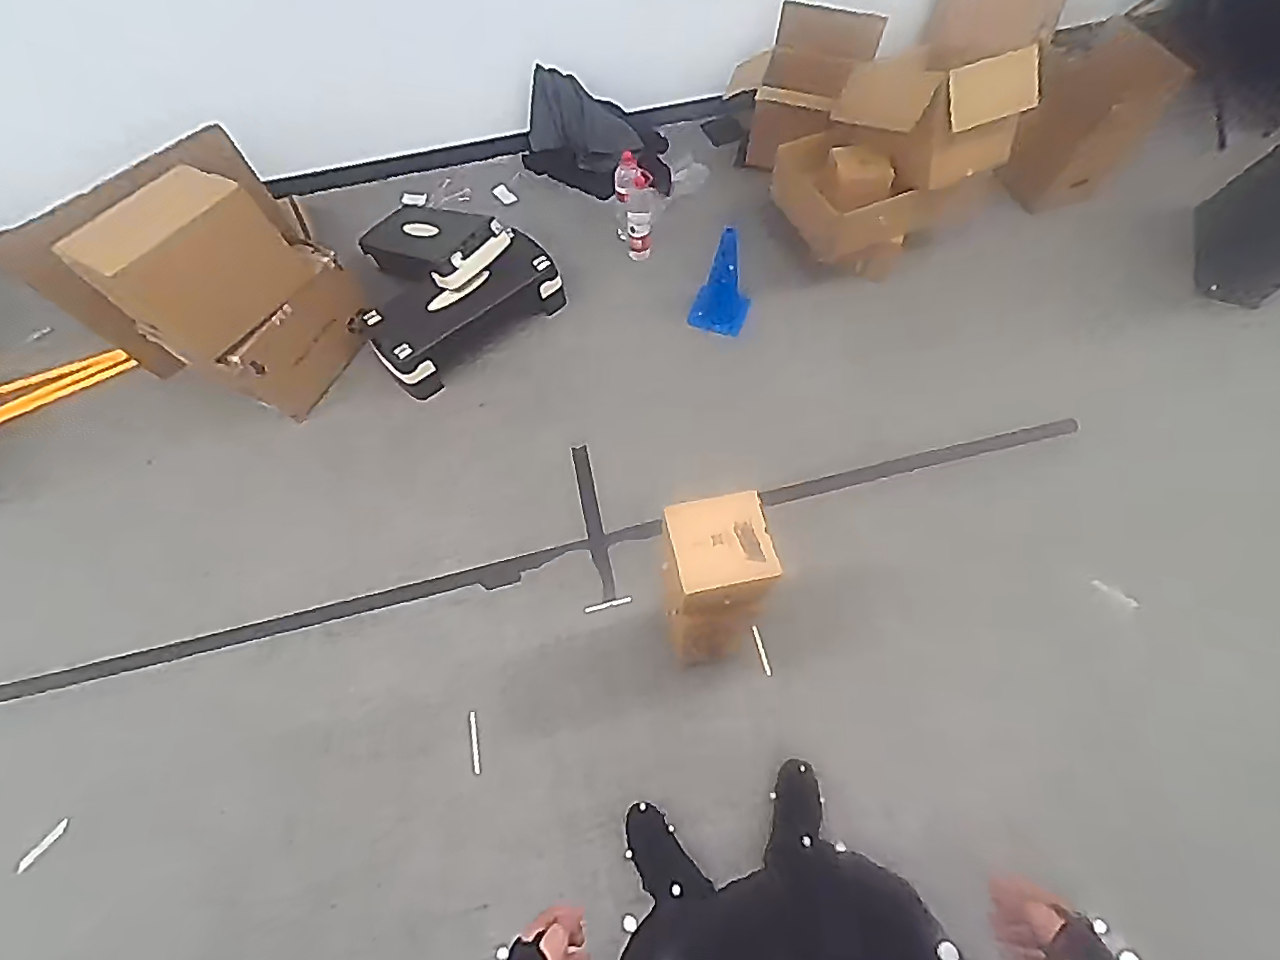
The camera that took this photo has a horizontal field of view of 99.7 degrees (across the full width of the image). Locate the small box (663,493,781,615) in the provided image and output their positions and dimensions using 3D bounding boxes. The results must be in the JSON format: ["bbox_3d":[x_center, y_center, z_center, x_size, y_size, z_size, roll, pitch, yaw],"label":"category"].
[{"bbox_3d":[0.143,0.144,1.018,0.179,0.176,0.168,-11,64,-3],"label":"small box"}]
